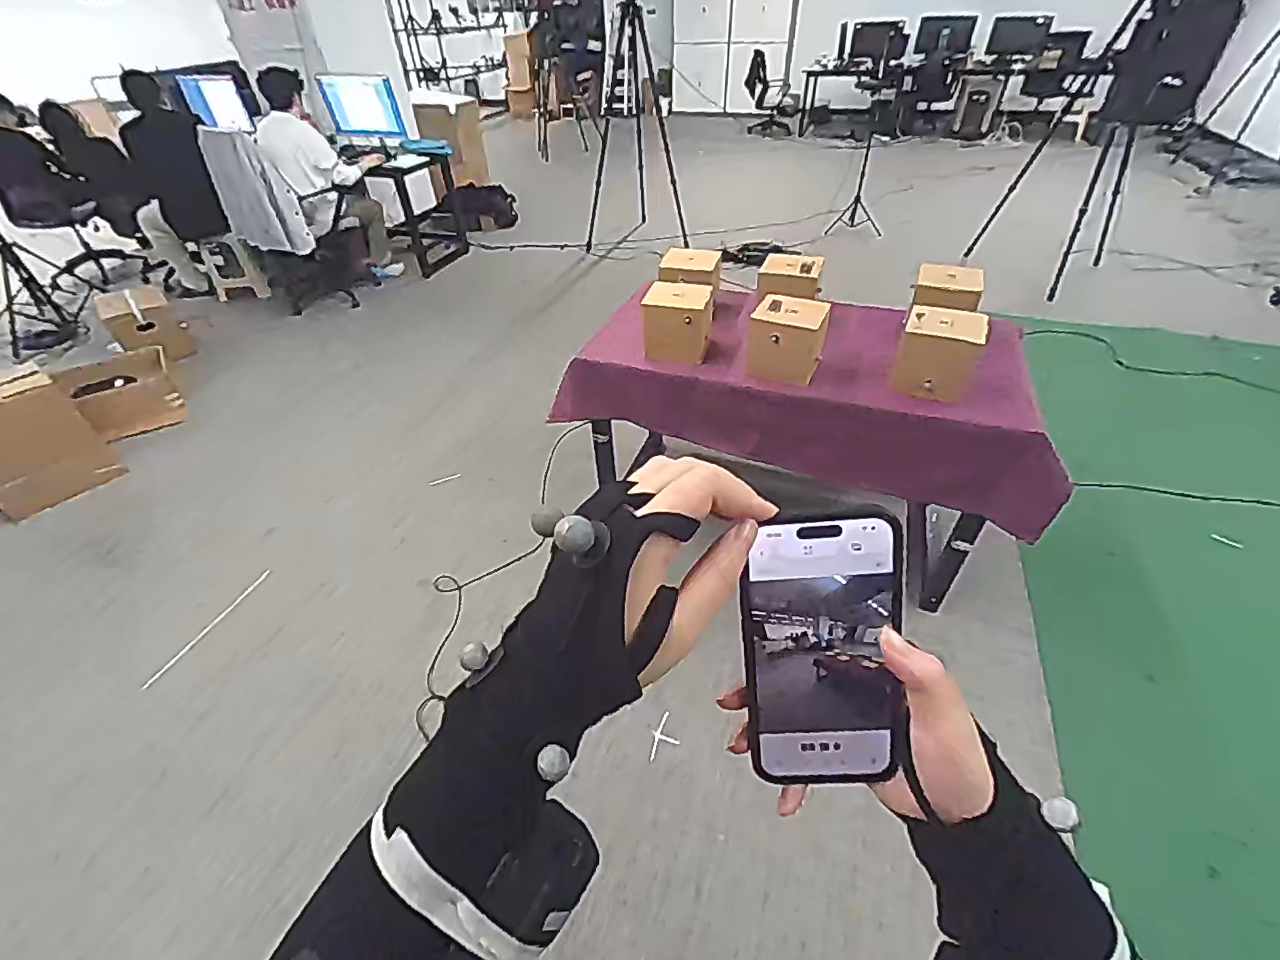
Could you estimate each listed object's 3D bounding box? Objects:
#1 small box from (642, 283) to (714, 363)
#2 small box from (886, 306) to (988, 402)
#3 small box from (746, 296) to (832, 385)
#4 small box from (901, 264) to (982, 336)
[{"bbox_3d":[0.110,-0.452,1.562,0.179,0.176,0.168,10,43,12],"label":"small box"},{"bbox_3d":[0.753,-0.318,1.376,0.179,0.176,0.168,18,45,22],"label":"small box"},{"bbox_3d":[0.397,-0.377,1.460,0.179,0.176,0.168,18,45,21],"label":"small box"},{"bbox_3d":[0.881,-0.512,1.588,0.168,0.176,0.179,15,45,20],"label":"small box"}]
